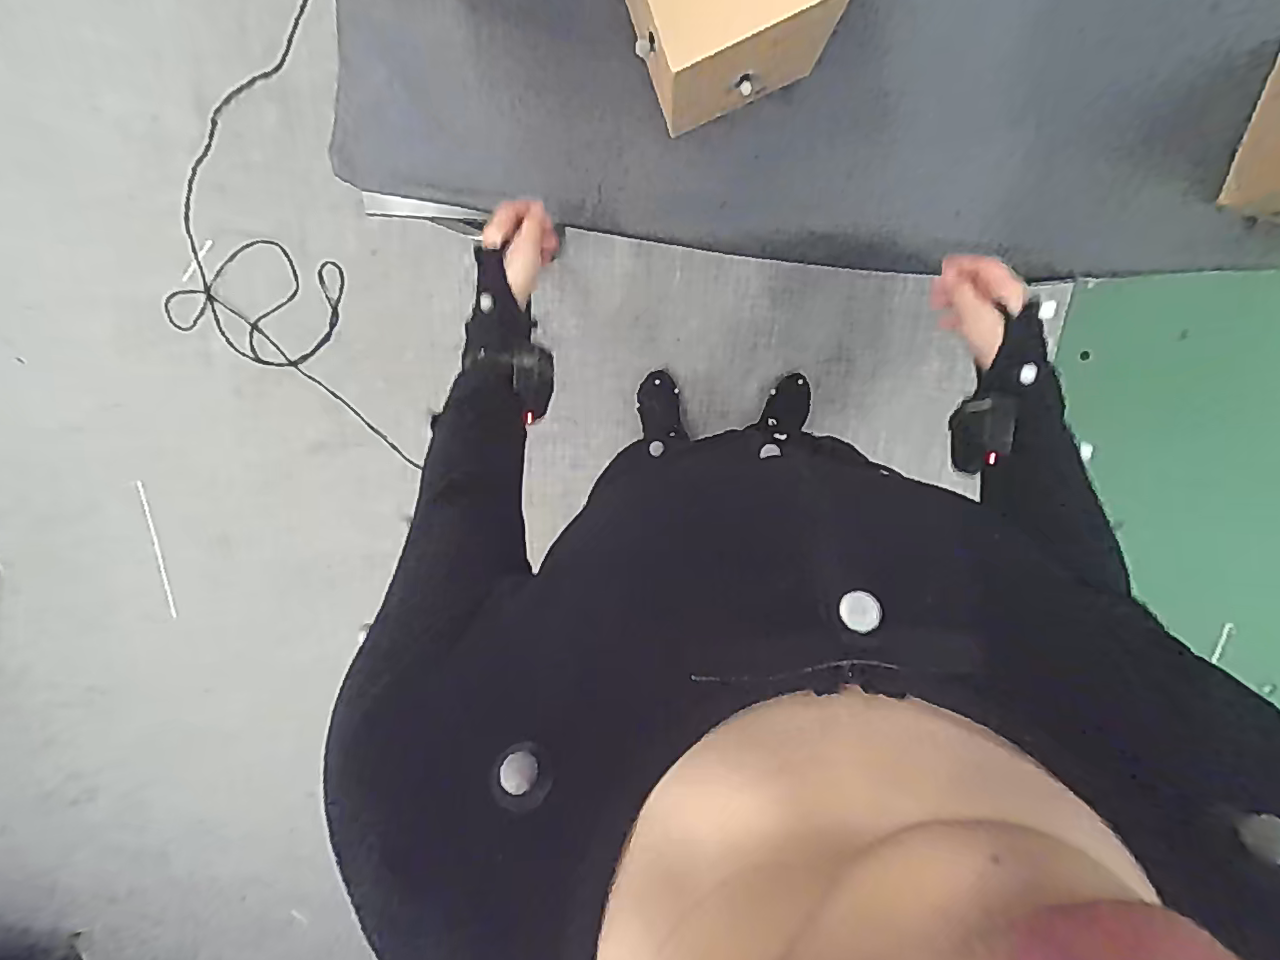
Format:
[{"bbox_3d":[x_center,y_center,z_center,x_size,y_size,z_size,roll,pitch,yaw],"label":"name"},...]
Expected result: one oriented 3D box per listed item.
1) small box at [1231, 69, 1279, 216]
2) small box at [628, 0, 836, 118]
[{"bbox_3d":[0.727,-0.351,0.495,0.168,0.176,0.179,13,104,2],"label":"small box"},{"bbox_3d":[0.076,-0.480,0.512,0.168,0.176,0.179,-20,103,9],"label":"small box"}]
